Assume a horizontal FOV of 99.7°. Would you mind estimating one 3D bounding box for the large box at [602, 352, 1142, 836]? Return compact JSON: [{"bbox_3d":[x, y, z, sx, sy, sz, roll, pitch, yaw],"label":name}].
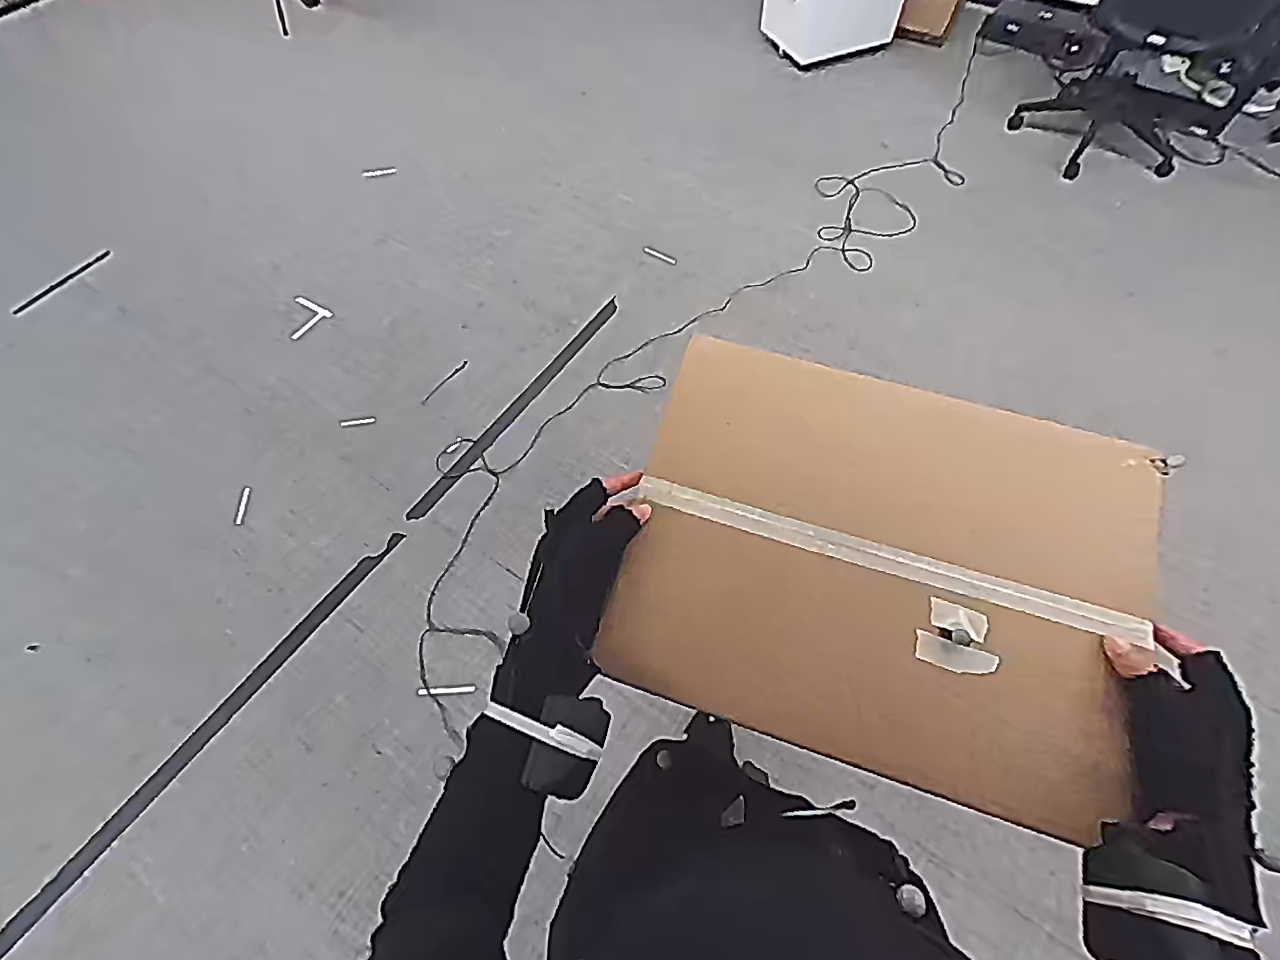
[{"bbox_3d":[0.207,0.109,0.598,0.408,0.320,0.320,17,76,9],"label":"large box"}]
